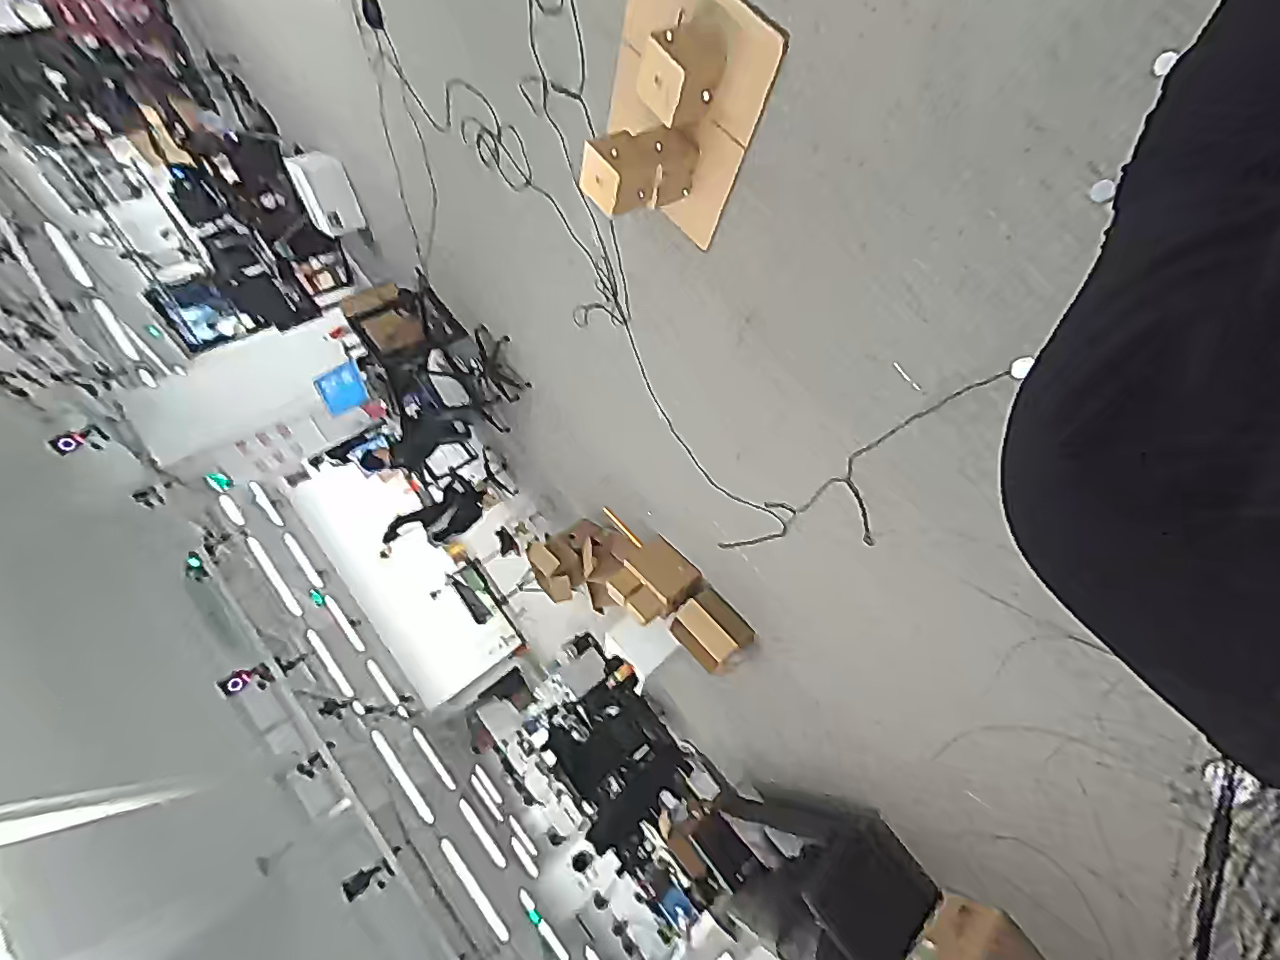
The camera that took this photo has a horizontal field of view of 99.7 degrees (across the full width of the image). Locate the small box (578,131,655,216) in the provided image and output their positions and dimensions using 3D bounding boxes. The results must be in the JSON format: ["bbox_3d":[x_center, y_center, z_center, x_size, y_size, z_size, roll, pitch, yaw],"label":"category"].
[{"bbox_3d":[-0.079,-1.014,1.777,0.179,0.176,0.168,50,154,12],"label":"small box"}]

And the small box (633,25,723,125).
[{"bbox_3d":[0.110,-1.206,1.604,0.179,0.176,0.168,51,155,8],"label":"small box"}]

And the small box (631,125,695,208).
[{"bbox_3d":[0.060,-1.074,1.844,0.179,0.176,0.168,49,154,14],"label":"small box"}]
